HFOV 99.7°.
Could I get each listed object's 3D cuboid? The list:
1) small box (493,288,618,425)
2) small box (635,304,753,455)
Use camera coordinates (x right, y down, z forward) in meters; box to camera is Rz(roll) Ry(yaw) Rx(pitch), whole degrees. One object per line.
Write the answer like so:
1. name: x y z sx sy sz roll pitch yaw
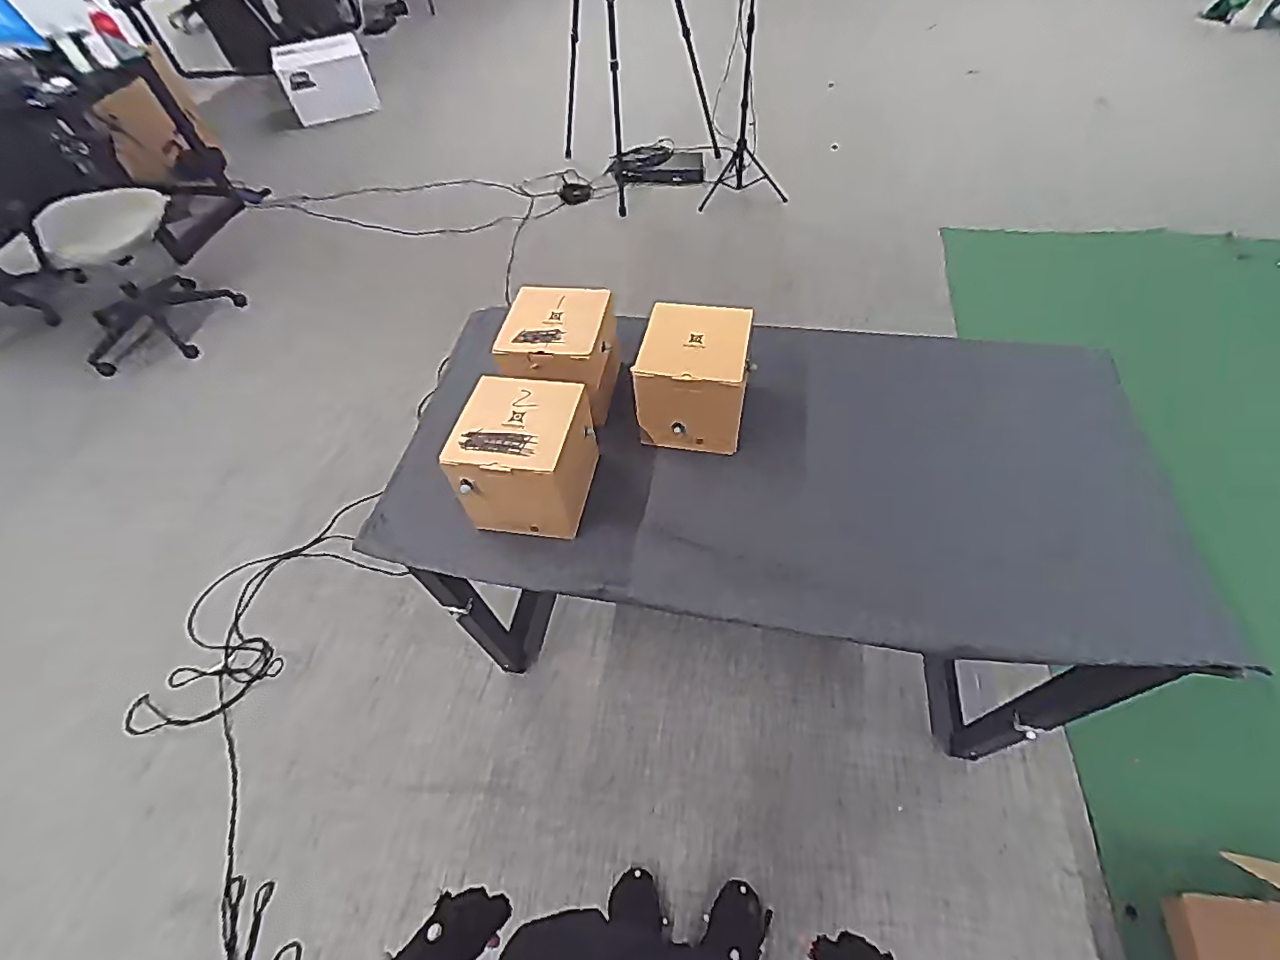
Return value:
1. small box: -0.137 -0.217 0.966 0.168 0.176 0.179 5 54 8
2. small box: 0.092 -0.169 0.913 0.168 0.176 0.179 8 56 10
